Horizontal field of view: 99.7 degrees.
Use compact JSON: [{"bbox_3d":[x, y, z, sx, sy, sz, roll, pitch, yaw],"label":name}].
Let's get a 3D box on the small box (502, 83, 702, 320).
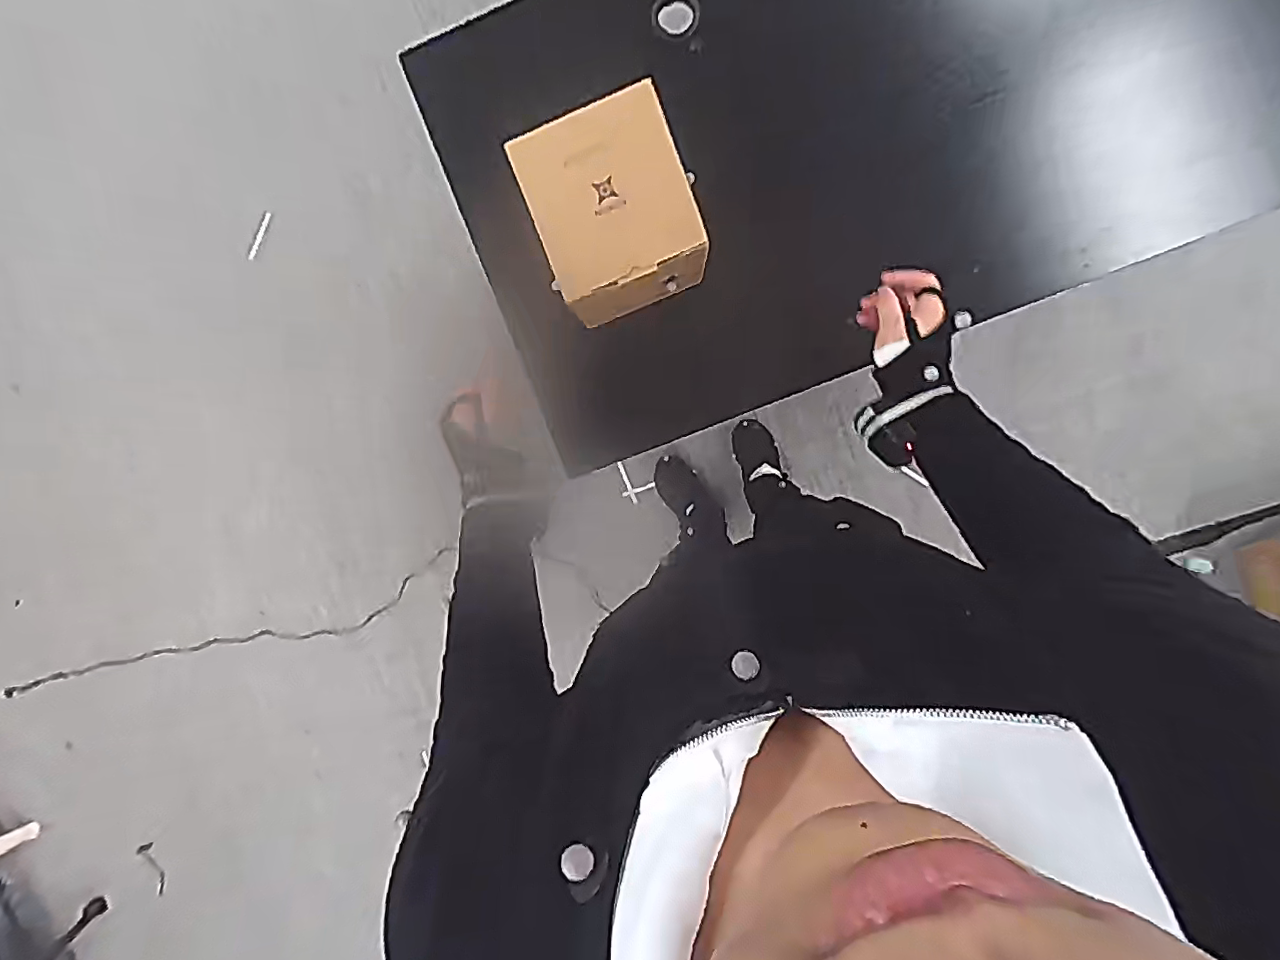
[{"bbox_3d":[-0.034,-0.305,0.641,0.168,0.176,0.179,-22,94,5],"label":"small box"}]
